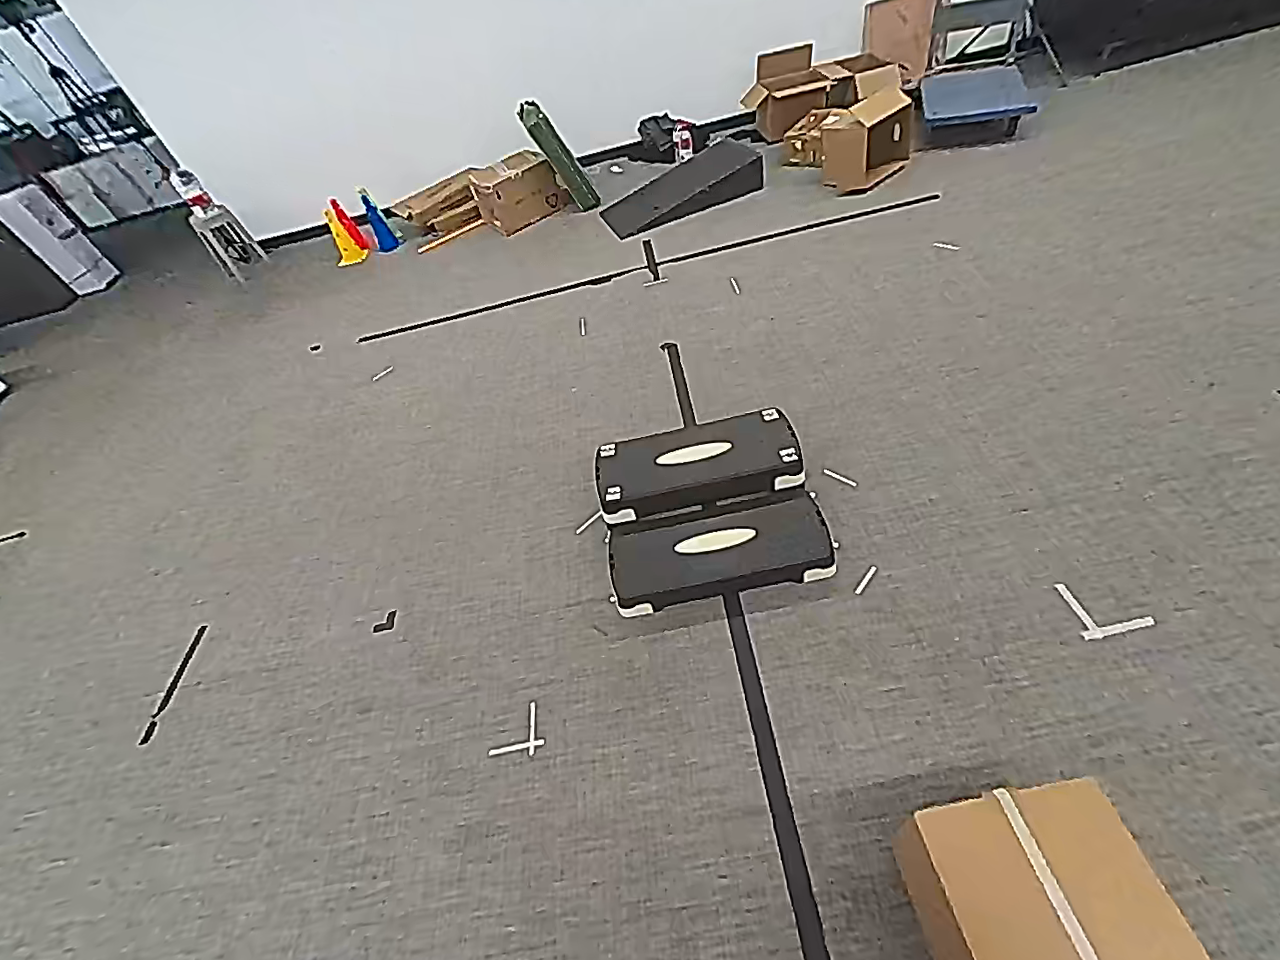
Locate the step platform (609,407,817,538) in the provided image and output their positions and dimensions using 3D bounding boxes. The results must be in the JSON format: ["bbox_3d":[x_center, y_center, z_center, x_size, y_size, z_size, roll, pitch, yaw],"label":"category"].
[{"bbox_3d":[0.236,-0.031,1.837,0.684,0.204,0.286,-13,47,3],"label":"step platform"}]

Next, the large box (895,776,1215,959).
[{"bbox_3d":[0.687,0.779,0.908,0.320,0.320,0.408,-14,48,4],"label":"large box"}]
